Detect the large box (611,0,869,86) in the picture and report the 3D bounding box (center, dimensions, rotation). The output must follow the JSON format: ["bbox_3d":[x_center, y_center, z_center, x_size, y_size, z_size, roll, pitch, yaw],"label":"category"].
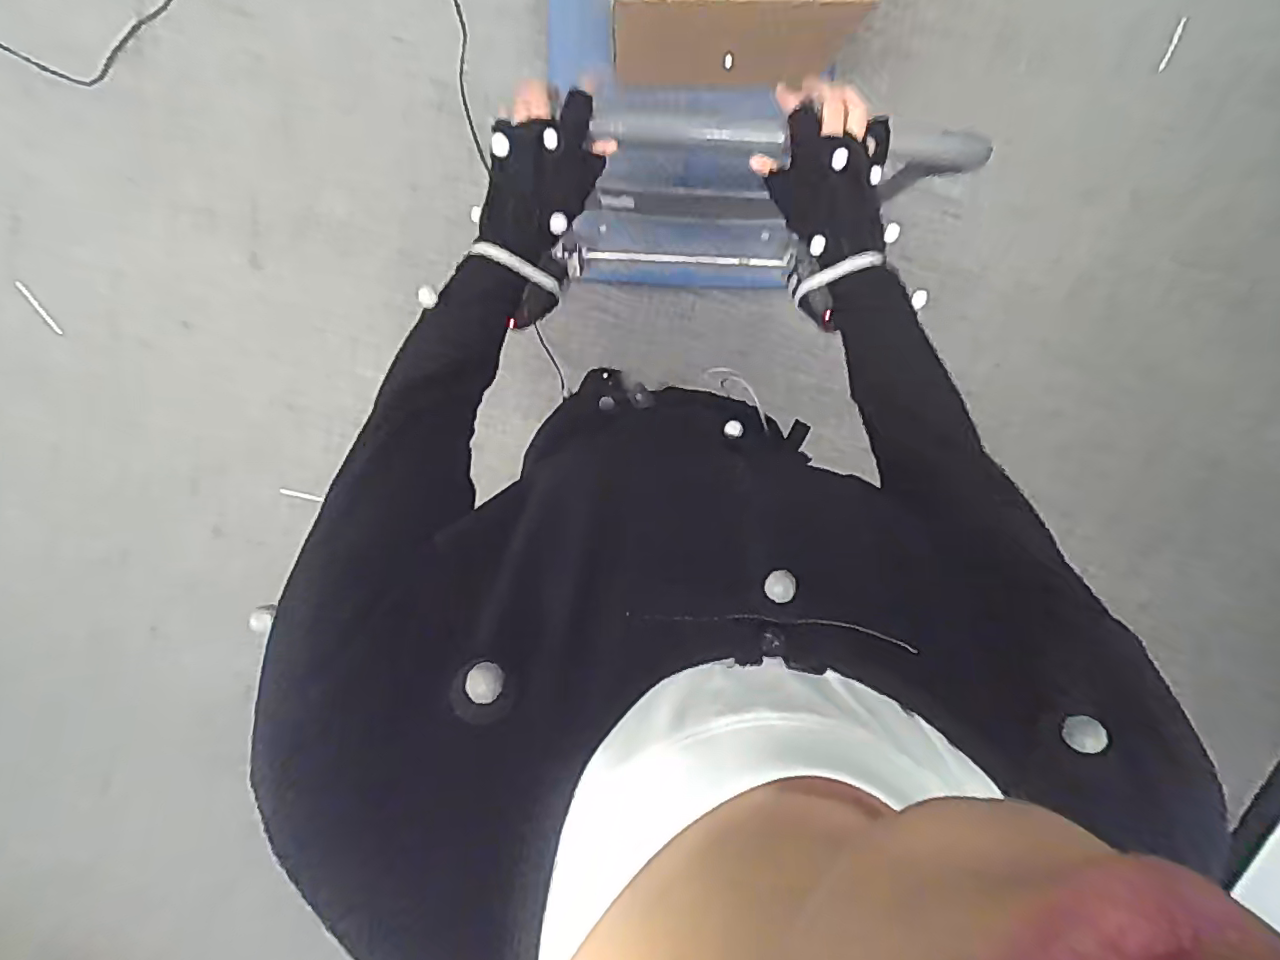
[{"bbox_3d":[0.154,-0.910,0.919,0.408,0.320,0.320,0,104,0],"label":"large box"}]
